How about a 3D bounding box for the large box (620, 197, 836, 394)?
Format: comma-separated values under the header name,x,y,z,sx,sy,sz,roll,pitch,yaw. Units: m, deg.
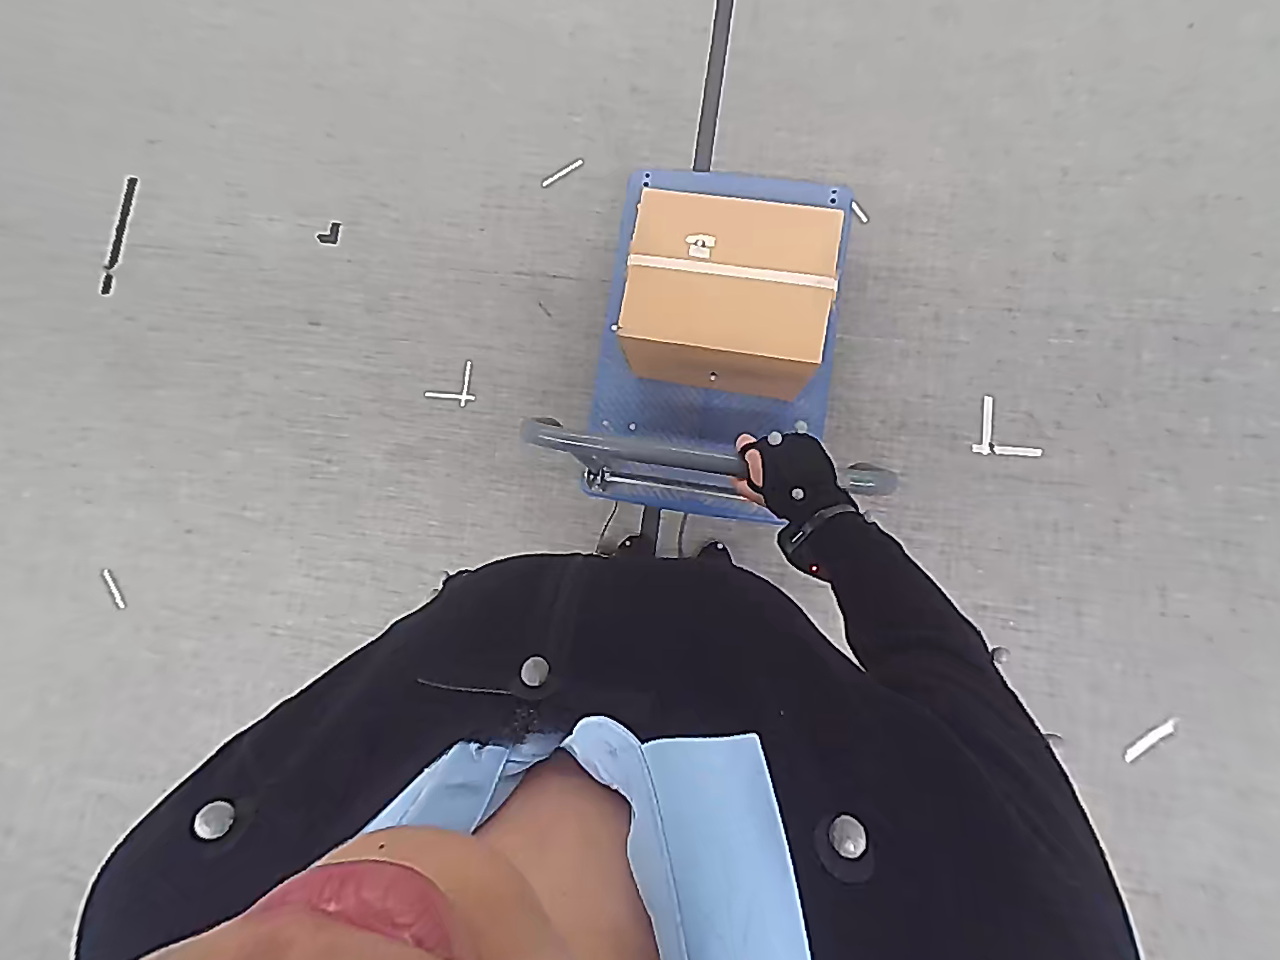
name,x,y,z,sx,sy,sz,roll,pitch,yaw
large box,0.193,-0.398,1.230,0.408,0.320,0.320,9,85,7
